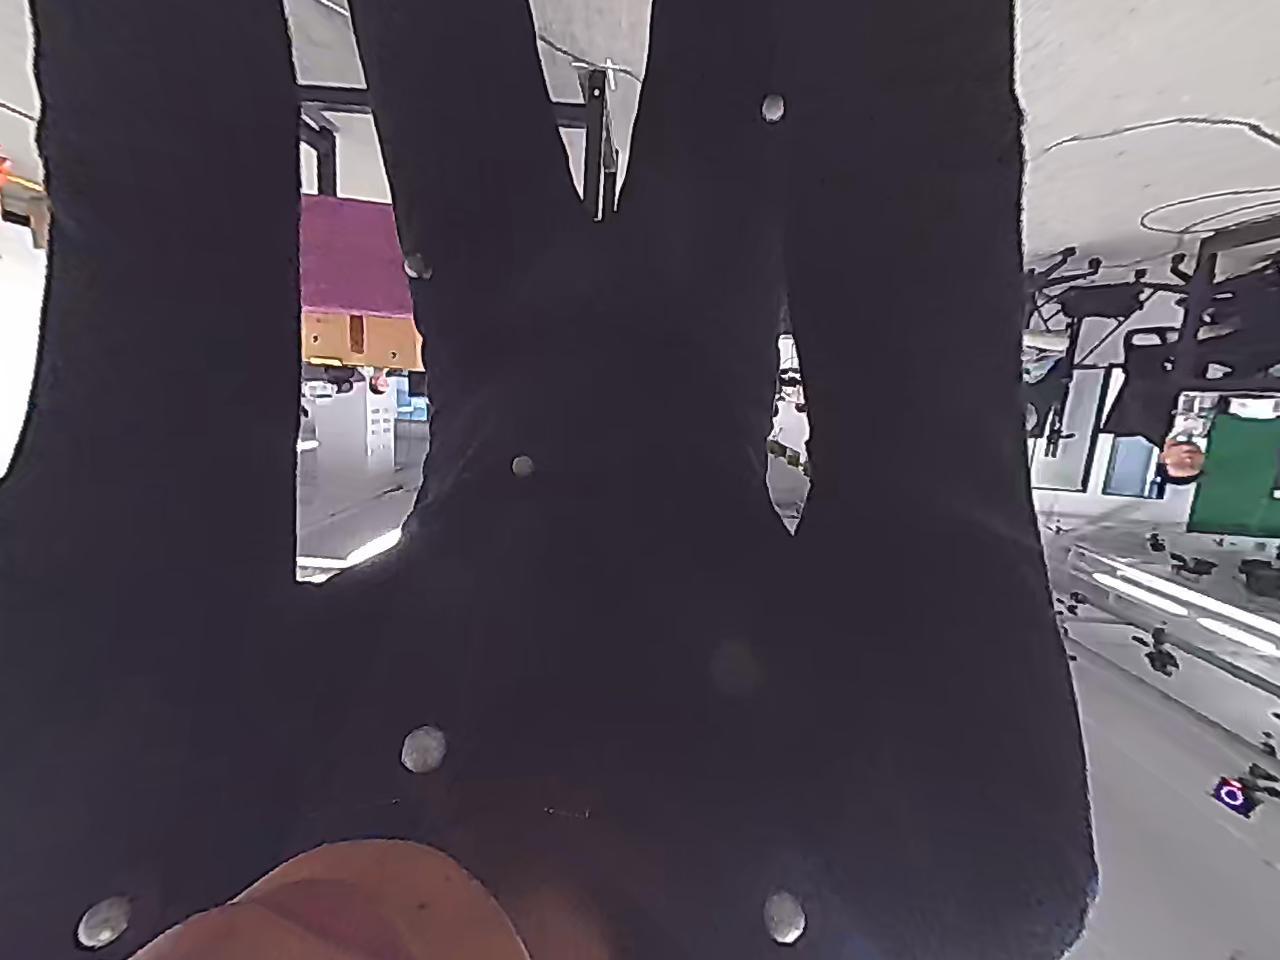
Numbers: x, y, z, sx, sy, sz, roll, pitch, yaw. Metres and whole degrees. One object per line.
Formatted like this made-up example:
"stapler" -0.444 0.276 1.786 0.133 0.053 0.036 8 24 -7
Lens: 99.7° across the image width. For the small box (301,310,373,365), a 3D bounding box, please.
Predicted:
"small box" -1.058 -0.496 1.890 0.168 0.176 0.179 5 -170 -1
